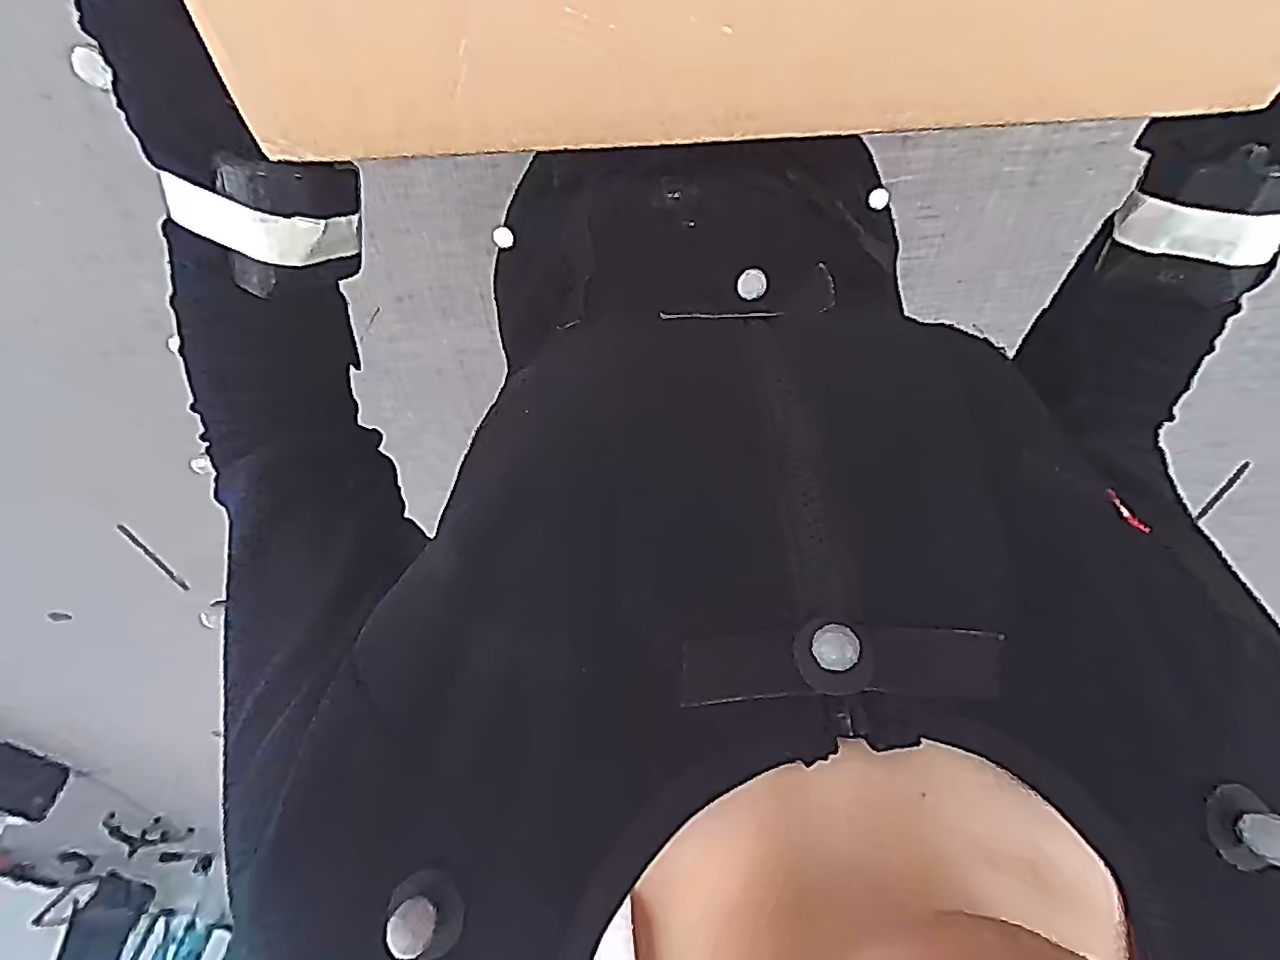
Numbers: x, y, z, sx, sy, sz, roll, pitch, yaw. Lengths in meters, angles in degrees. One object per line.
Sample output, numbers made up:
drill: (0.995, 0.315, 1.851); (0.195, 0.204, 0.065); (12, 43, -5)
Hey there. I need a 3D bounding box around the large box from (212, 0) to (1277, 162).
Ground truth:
large box: (0.035, -0.361, 0.214); (0.408, 0.320, 0.320); (-4, 137, -1)
